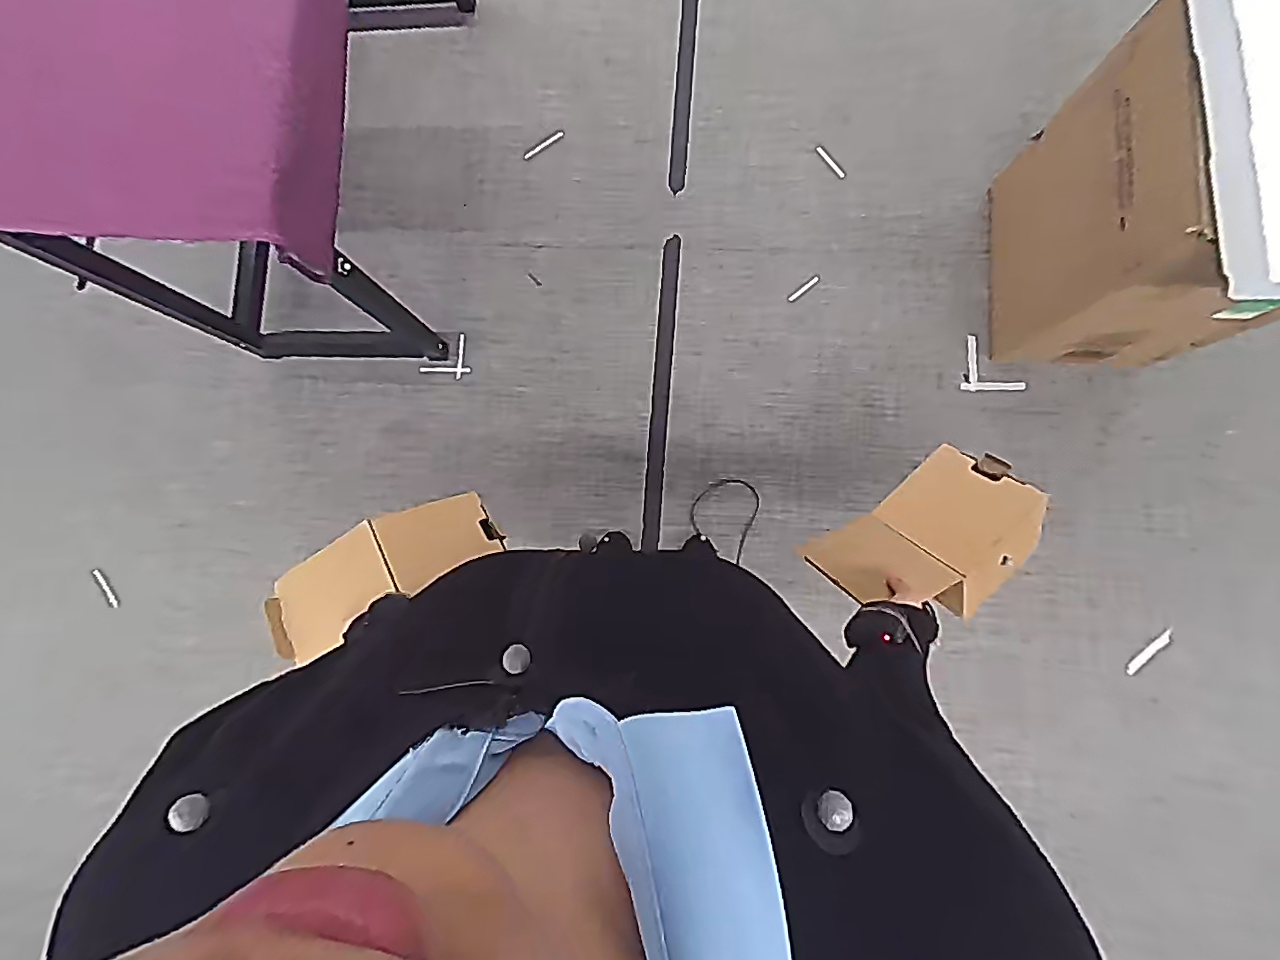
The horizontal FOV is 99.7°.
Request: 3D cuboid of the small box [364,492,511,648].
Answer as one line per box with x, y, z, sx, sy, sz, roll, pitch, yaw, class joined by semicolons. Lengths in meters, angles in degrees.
-0.336;0.150;0.895;0.179;0.176;0.168;-17;61;-34;small box
